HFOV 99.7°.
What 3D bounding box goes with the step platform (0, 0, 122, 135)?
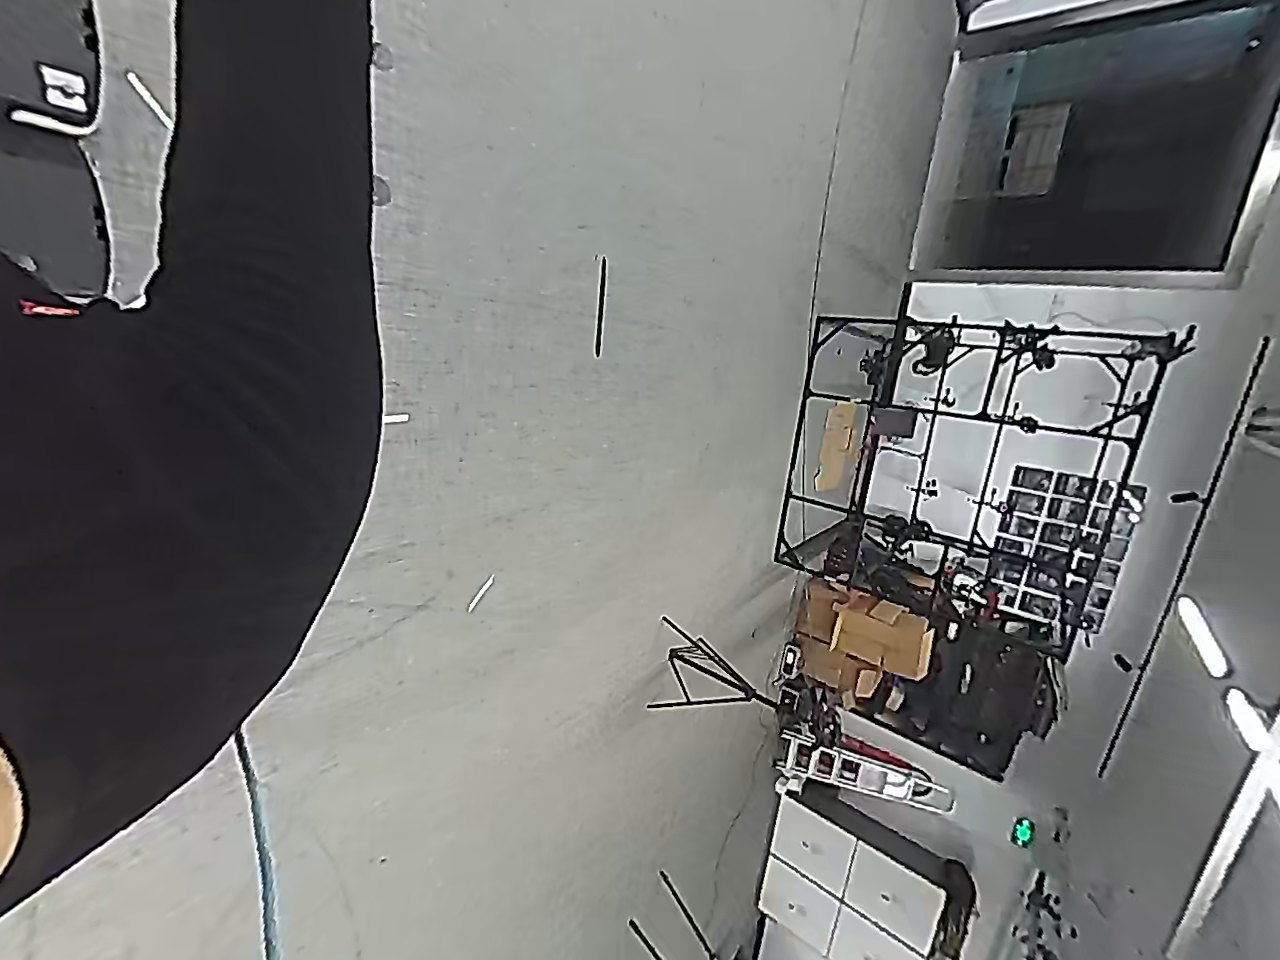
[{"bbox_3d":[-1.152,-0.719,0.707,0.684,0.204,0.286,-15,115,-52],"label":"step platform"}]
